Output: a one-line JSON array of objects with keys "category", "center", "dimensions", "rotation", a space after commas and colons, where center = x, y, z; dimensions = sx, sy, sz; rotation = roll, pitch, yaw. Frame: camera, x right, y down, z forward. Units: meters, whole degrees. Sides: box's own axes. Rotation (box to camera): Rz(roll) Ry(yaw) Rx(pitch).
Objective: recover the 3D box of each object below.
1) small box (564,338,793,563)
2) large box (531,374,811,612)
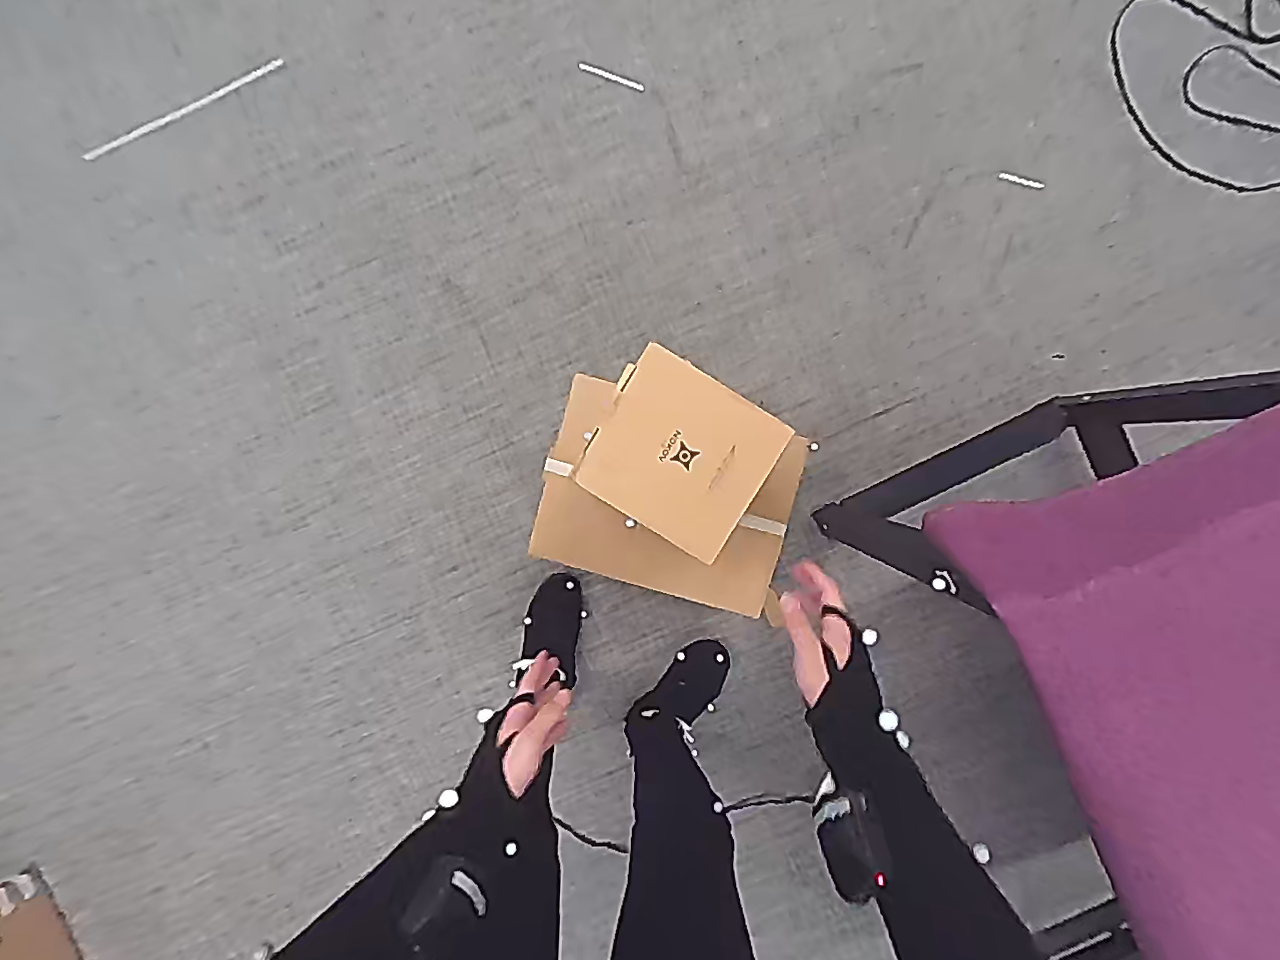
[{"category": "small box", "center": [0.038, -0.031, 0.617], "dimensions": [0.179, 0.176, 0.168], "rotation": [32, 93, -2]}, {"category": "large box", "center": [0.047, 0.015, 1.026], "dimensions": [0.408, 0.320, 0.320], "rotation": [15, 94, -1]}]
